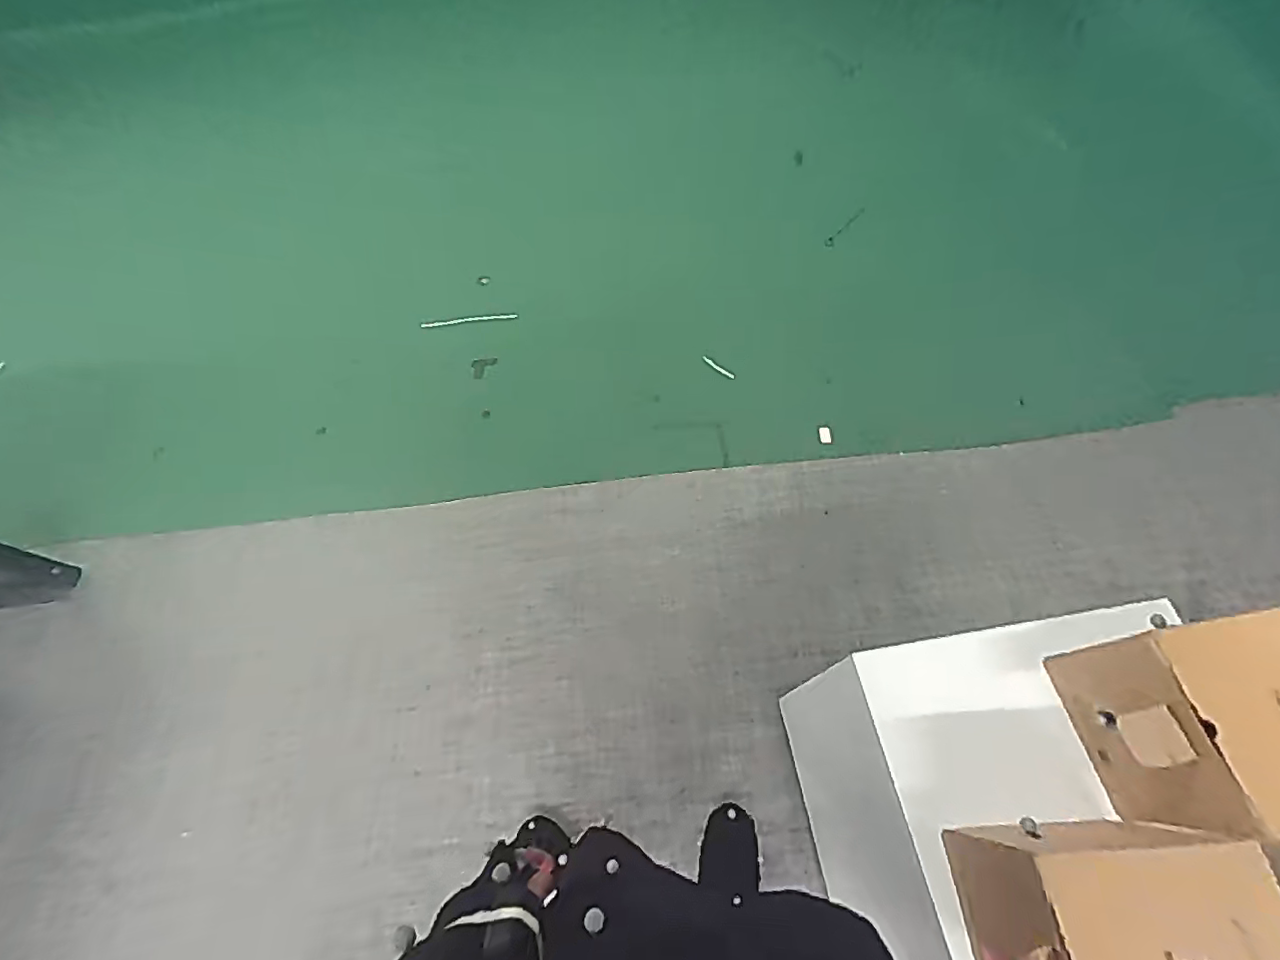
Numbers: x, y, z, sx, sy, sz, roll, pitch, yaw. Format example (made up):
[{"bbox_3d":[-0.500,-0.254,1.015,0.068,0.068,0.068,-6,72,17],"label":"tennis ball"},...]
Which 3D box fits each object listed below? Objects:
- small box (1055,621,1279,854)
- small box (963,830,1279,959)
[{"bbox_3d":[0.569,0.238,0.525,0.179,0.176,0.168,-11,63,0],"label":"small box"},{"bbox_3d":[0.403,0.401,0.451,0.179,0.176,0.168,-4,63,2],"label":"small box"}]
